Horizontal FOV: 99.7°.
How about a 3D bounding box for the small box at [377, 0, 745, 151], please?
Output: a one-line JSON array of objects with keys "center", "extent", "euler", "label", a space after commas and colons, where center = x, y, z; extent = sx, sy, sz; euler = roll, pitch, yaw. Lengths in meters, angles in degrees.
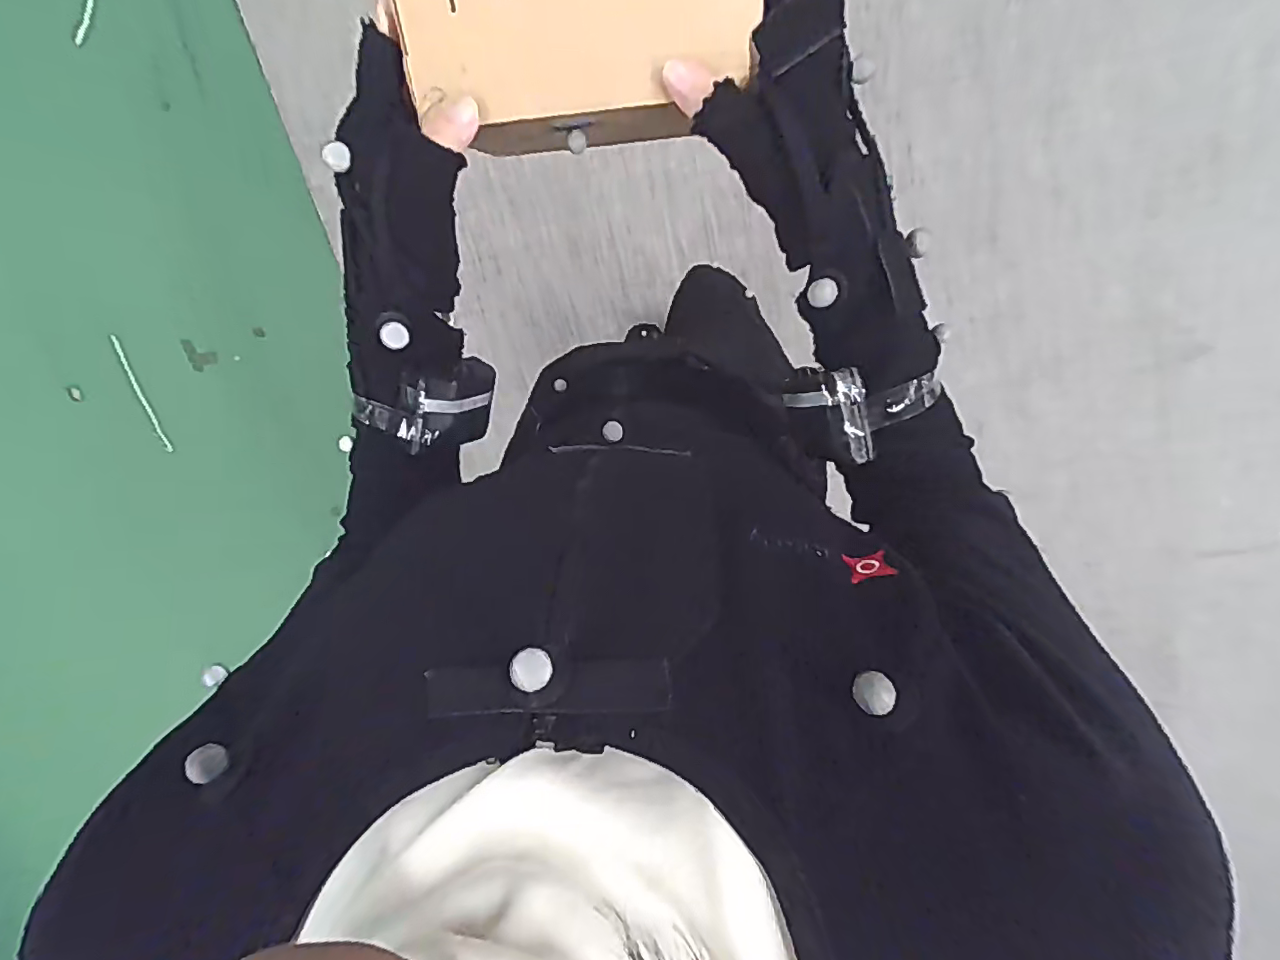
[{"center": [-0.039, -0.295, 0.307], "extent": [0.179, 0.176, 0.168], "euler": [-4, 117, 2], "label": "small box"}]
